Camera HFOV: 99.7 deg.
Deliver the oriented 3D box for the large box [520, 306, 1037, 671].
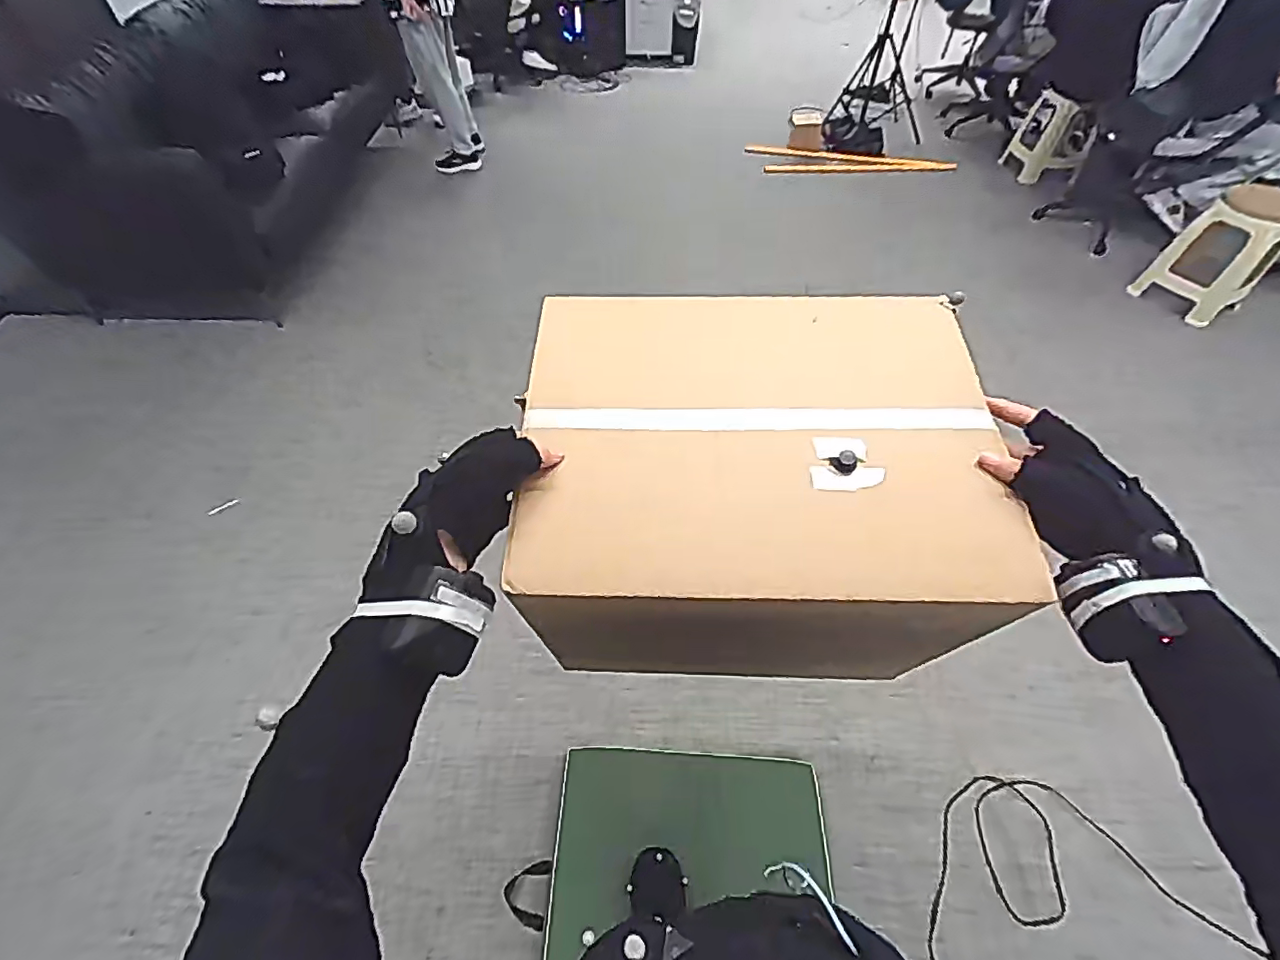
[{"bbox_3d":[0.105,0.027,0.613,0.408,0.320,0.320,1,60,1],"label":"large box"}]
